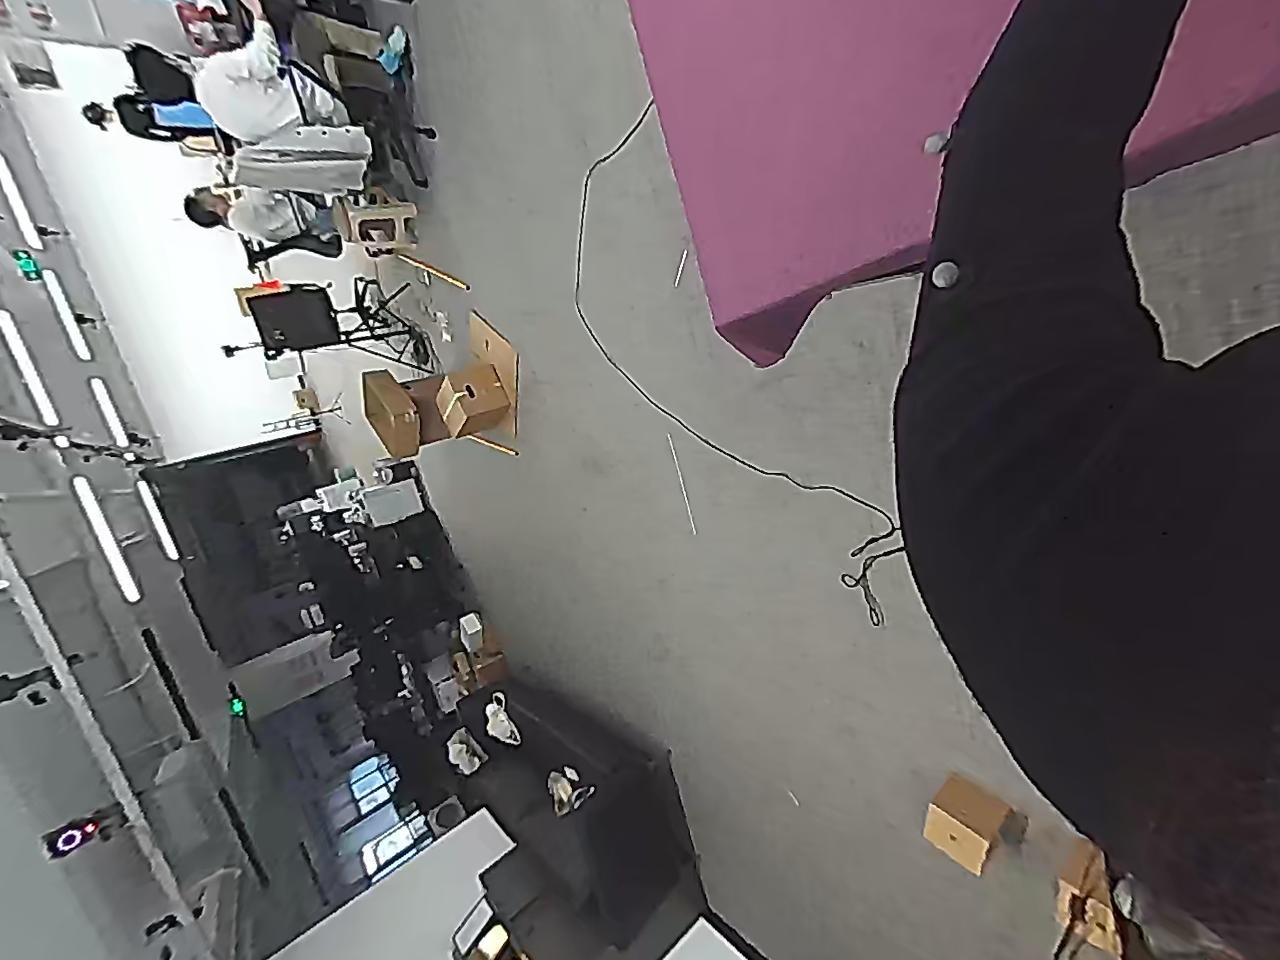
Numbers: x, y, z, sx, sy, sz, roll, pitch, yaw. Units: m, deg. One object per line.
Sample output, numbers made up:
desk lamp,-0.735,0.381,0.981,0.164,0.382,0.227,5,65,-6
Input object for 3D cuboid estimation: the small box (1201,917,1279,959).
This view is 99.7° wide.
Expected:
small box,1.425,1.161,1.235,0.179,0.176,0.168,1,110,54

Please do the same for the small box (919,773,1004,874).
small box,1.034,1.094,1.737,0.179,0.176,0.168,24,126,47
